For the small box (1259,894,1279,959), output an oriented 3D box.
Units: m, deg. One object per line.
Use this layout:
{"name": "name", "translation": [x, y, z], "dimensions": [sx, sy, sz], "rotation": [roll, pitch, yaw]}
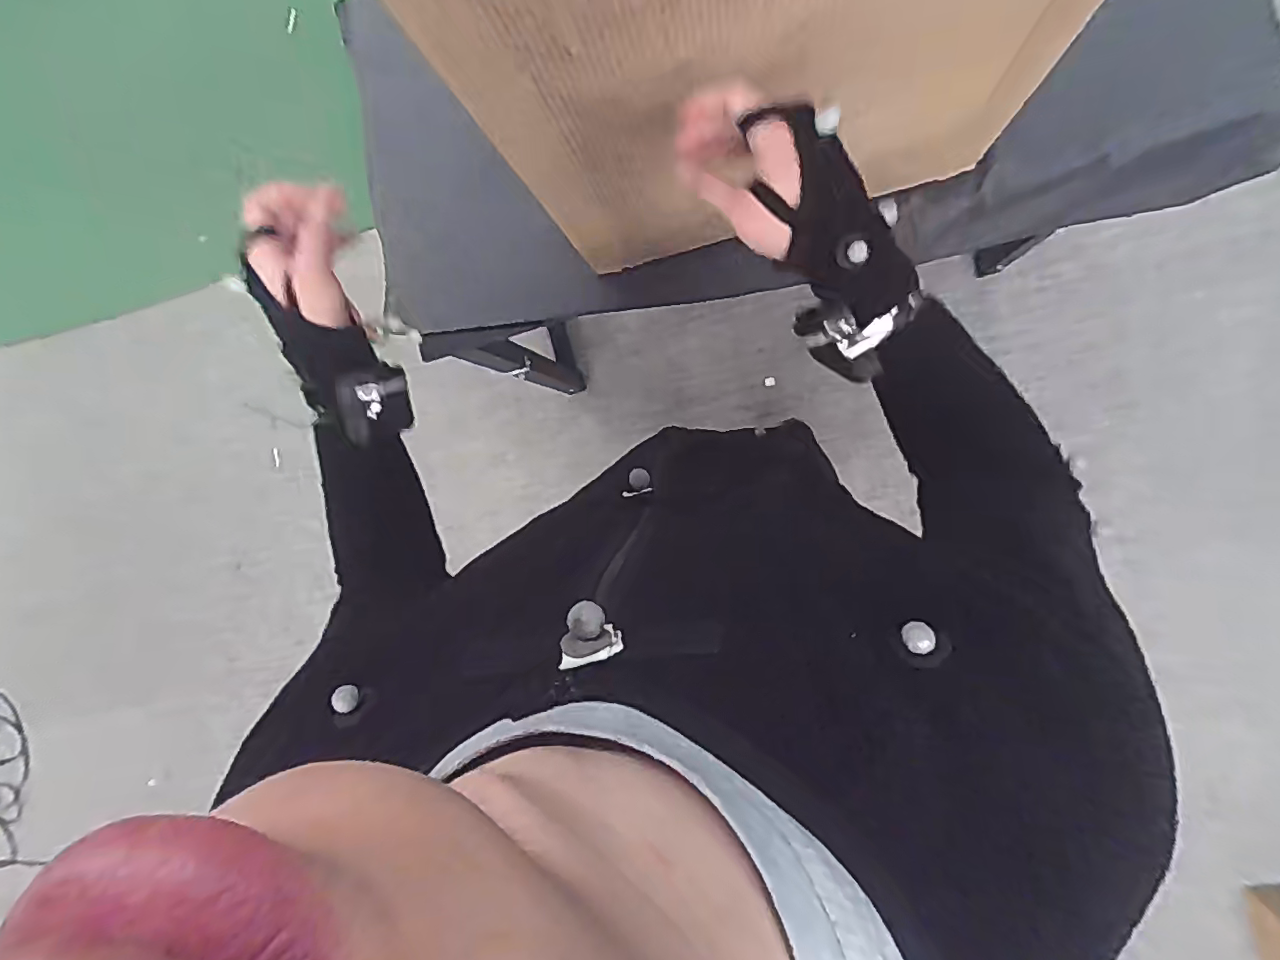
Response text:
{"name": "small box", "translation": [1.588, 1.083, 1.232], "dimensions": [0.168, 0.176, 0.179], "rotation": [-13, 91, 12]}
